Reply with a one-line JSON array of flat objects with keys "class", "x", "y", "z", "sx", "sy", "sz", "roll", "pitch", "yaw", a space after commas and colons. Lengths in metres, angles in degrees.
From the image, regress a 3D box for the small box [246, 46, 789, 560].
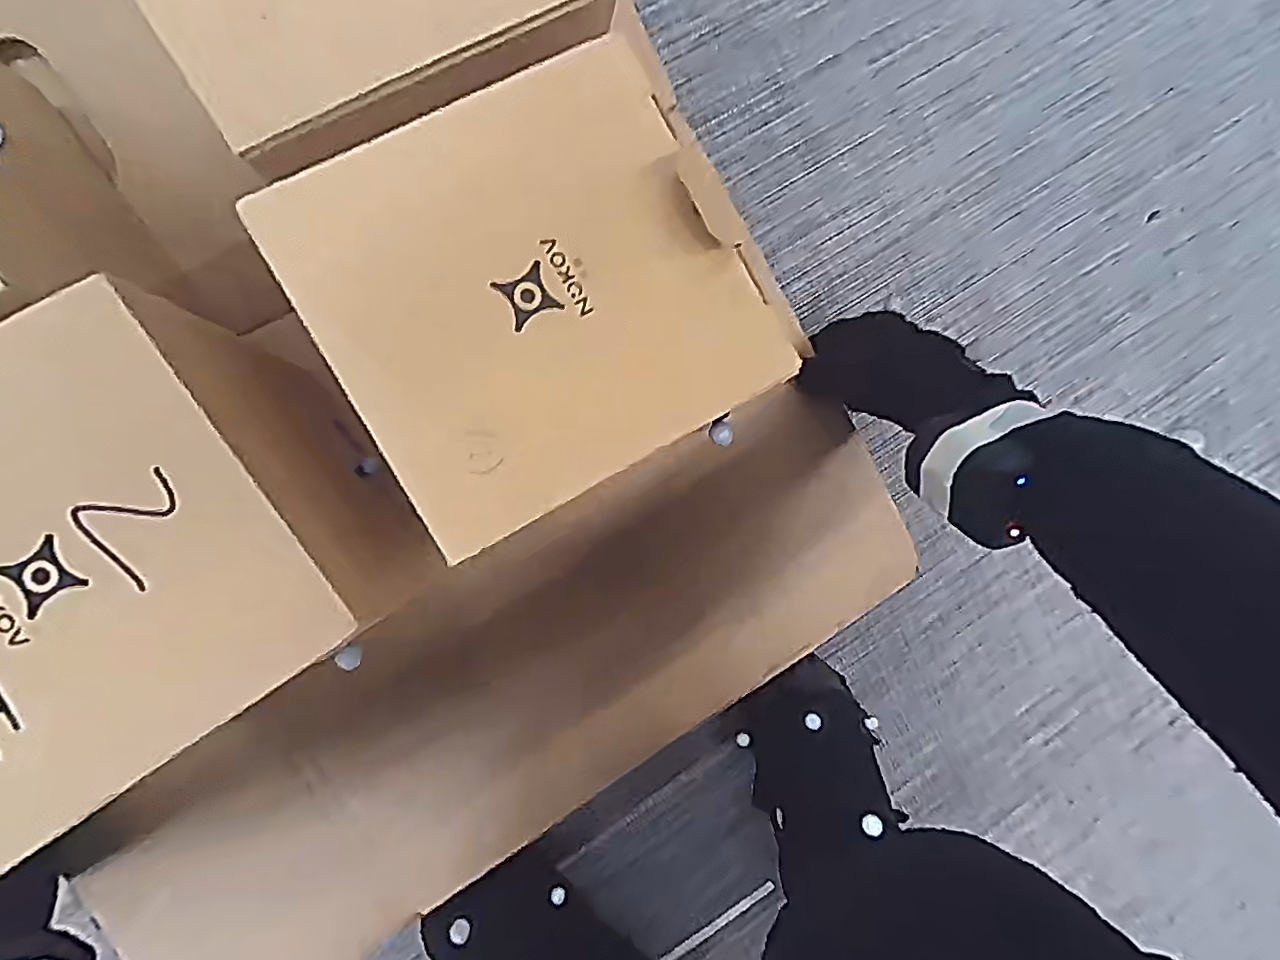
[{"class": "small box", "x": -0.055, "y": -0.075, "z": 0.305, "sx": 0.179, "sy": 0.176, "sz": 0.168, "roll": -29, "pitch": 94, "yaw": -8}]
